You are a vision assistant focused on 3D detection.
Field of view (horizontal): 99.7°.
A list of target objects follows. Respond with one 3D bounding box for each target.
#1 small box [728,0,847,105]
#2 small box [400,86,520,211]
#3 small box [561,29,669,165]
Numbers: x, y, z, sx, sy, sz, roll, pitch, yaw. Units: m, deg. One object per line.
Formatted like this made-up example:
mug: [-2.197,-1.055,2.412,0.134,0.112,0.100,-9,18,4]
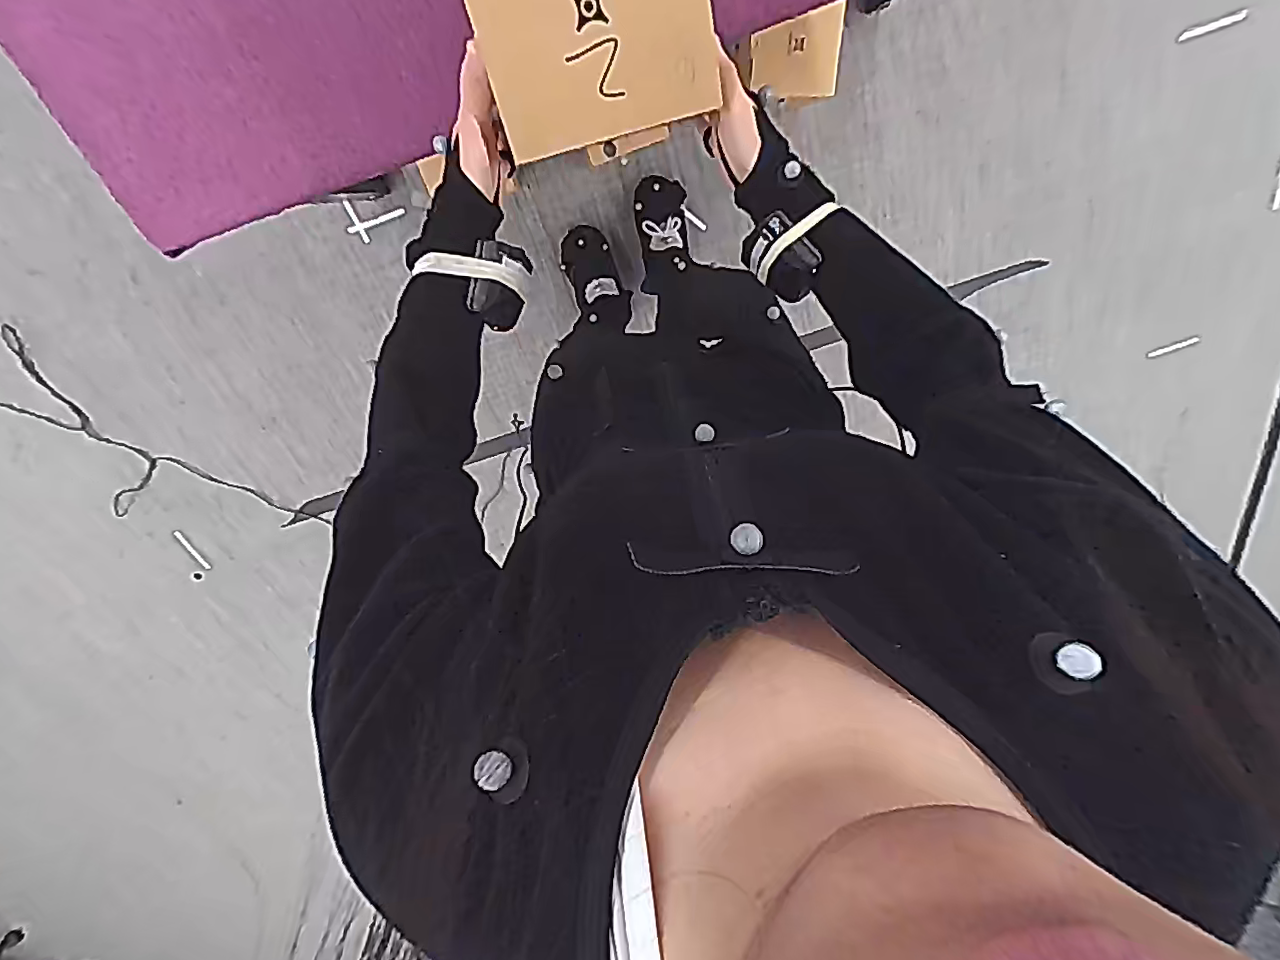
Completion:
small box: [0.287,-0.865,1.087,0.179,0.176,0.168,-4,119,-5]
small box: [-0.356,-0.664,1.105,0.168,0.176,0.179,-17,118,2]
small box: [-0.055,-0.760,1.094,0.168,0.176,0.179,-20,120,3]
